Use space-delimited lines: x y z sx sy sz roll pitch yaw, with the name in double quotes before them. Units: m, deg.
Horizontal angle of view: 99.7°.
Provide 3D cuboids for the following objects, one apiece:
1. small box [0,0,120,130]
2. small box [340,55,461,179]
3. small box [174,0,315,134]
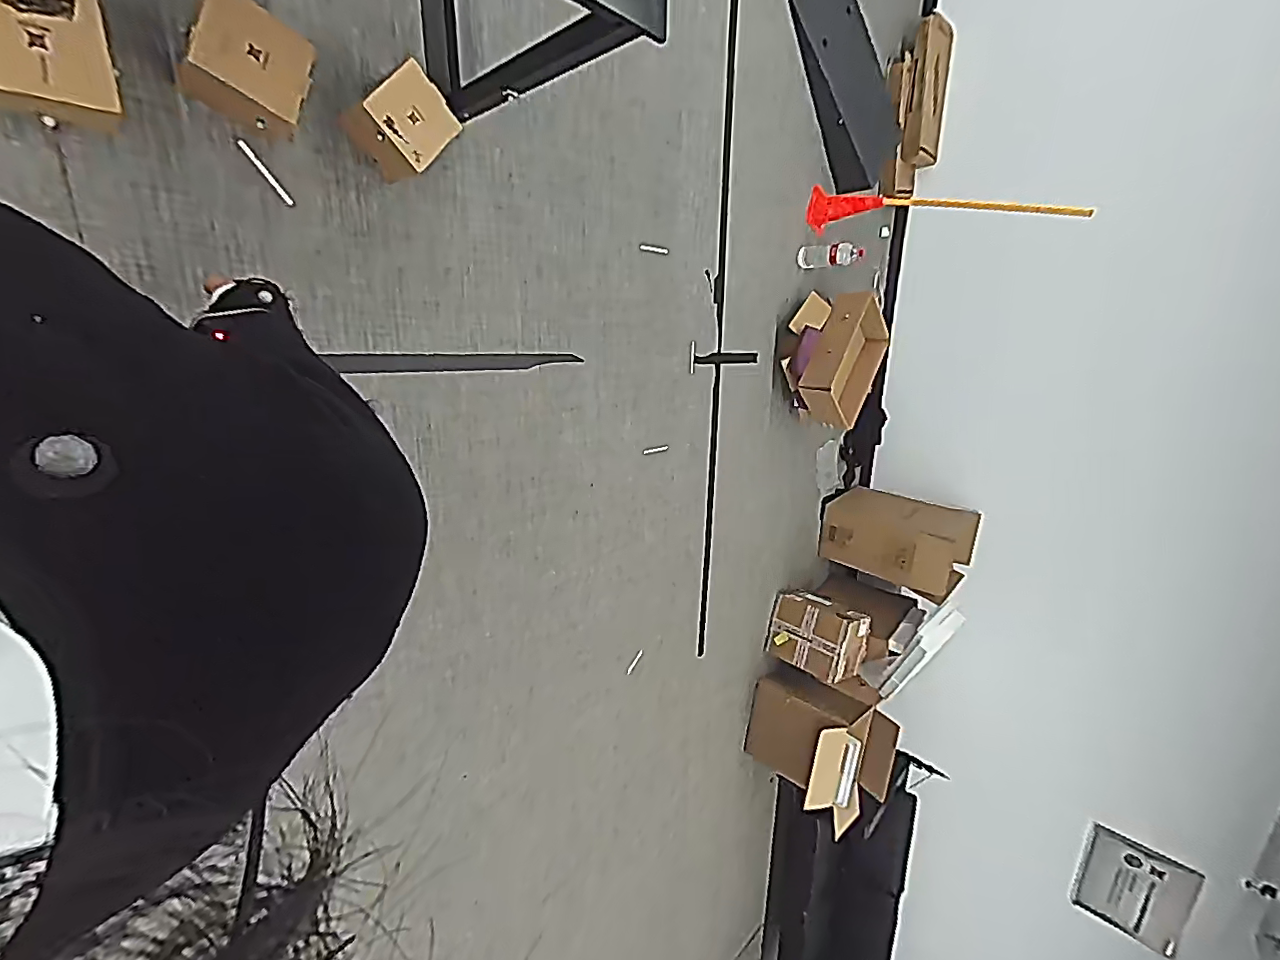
"small box" -0.990 -0.707 0.885 0.168 0.176 0.179 -16 114 -44
"small box" -0.574 -0.855 1.289 0.179 0.176 0.168 -59 136 -16
"small box" -0.786 -0.824 1.073 0.179 0.176 0.168 15 90 -48
